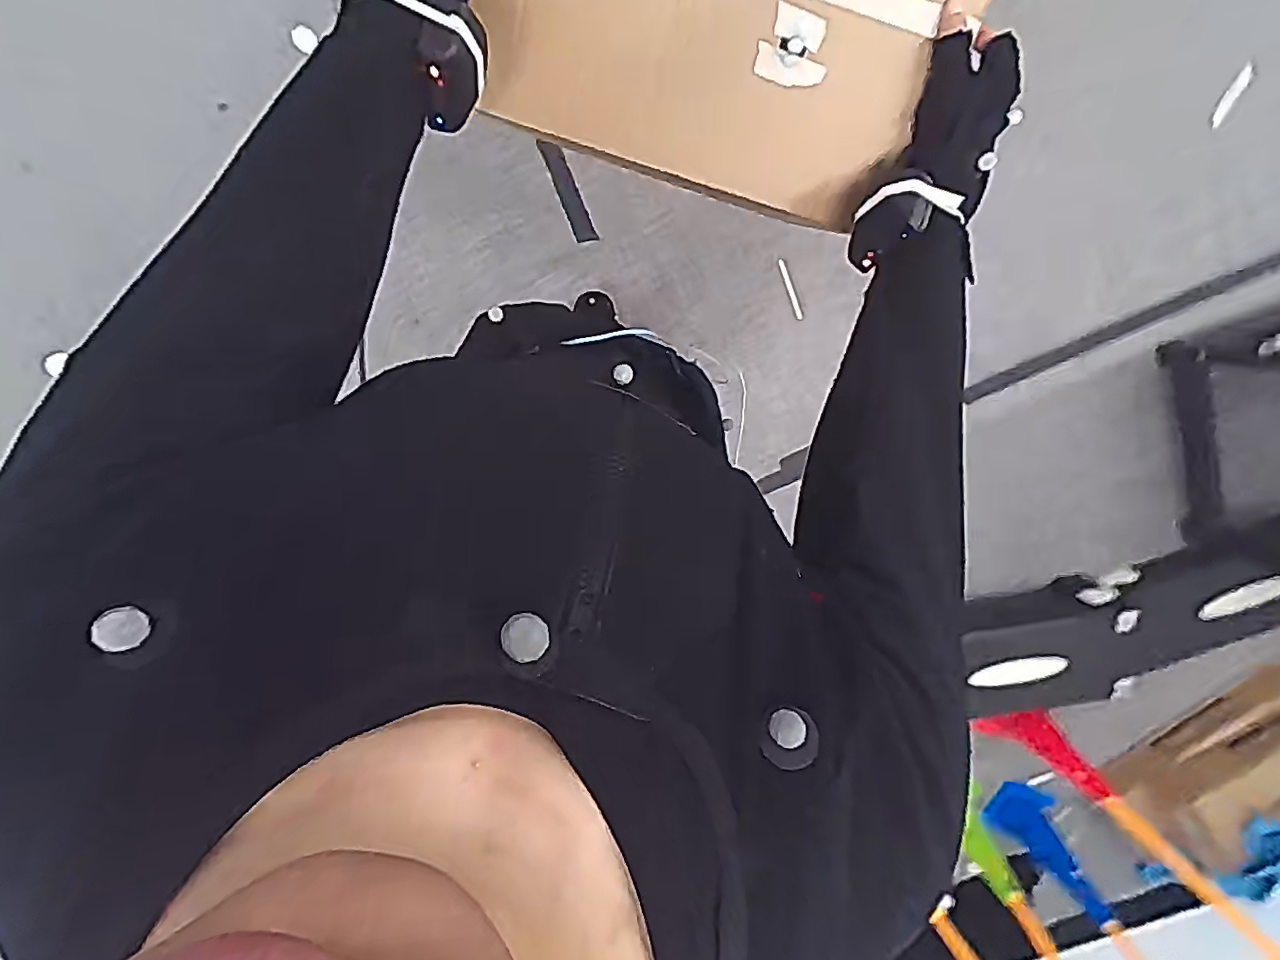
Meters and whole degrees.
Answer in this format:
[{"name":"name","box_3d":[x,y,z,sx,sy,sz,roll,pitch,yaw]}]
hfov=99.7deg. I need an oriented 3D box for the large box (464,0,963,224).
[{"name":"large box","box_3d":[0.069,-0.489,0.567,0.408,0.320,0.320,13,119,-6]}]
